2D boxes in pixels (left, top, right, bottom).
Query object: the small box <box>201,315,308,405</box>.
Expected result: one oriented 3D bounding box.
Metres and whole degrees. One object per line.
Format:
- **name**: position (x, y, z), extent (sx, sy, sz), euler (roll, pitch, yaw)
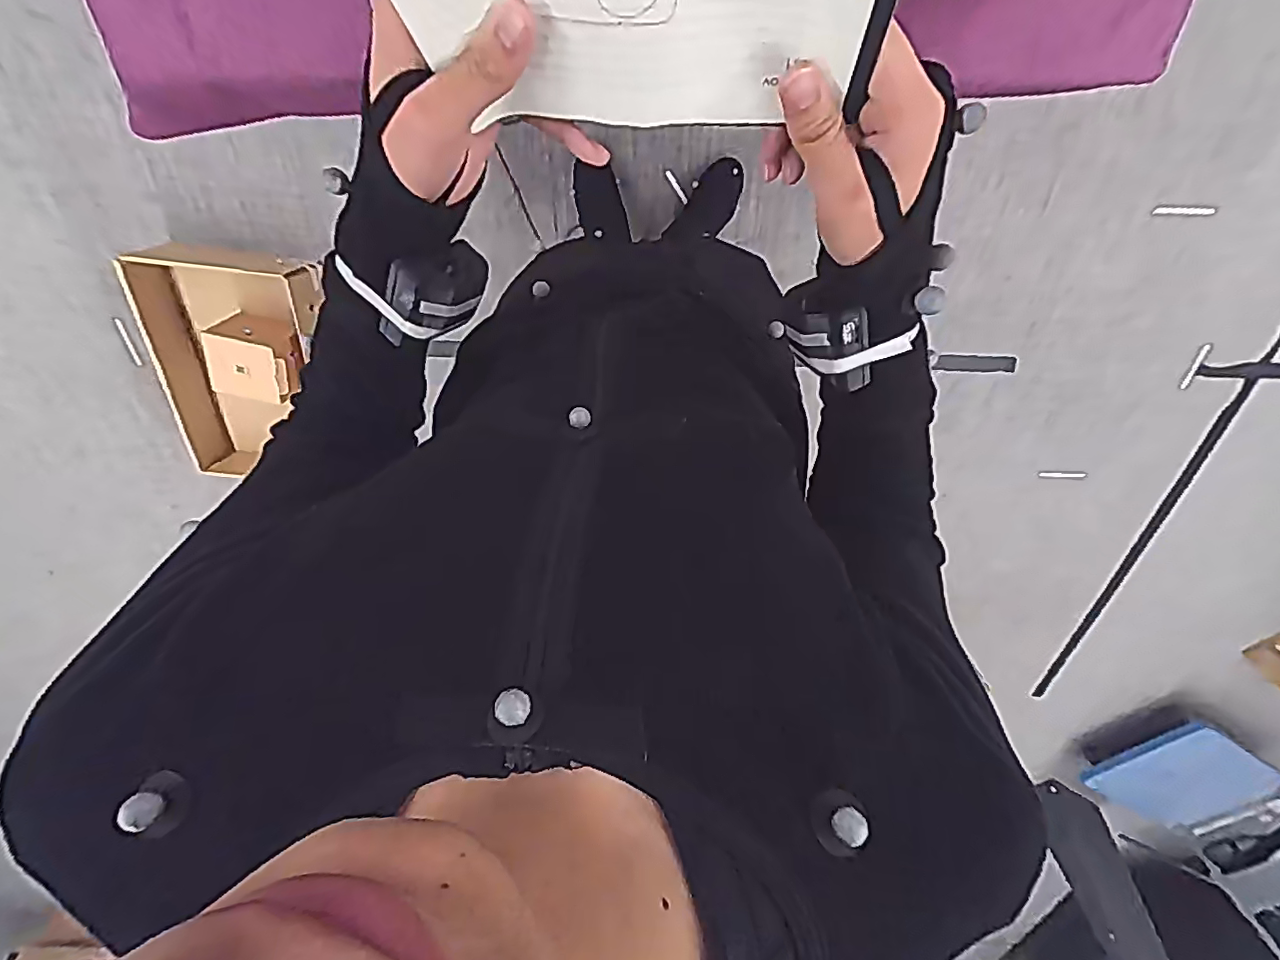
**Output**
- **small box**: position (-1.015, -0.325, 1.446), extent (0.179, 0.176, 0.168), euler (12, 123, -8)
